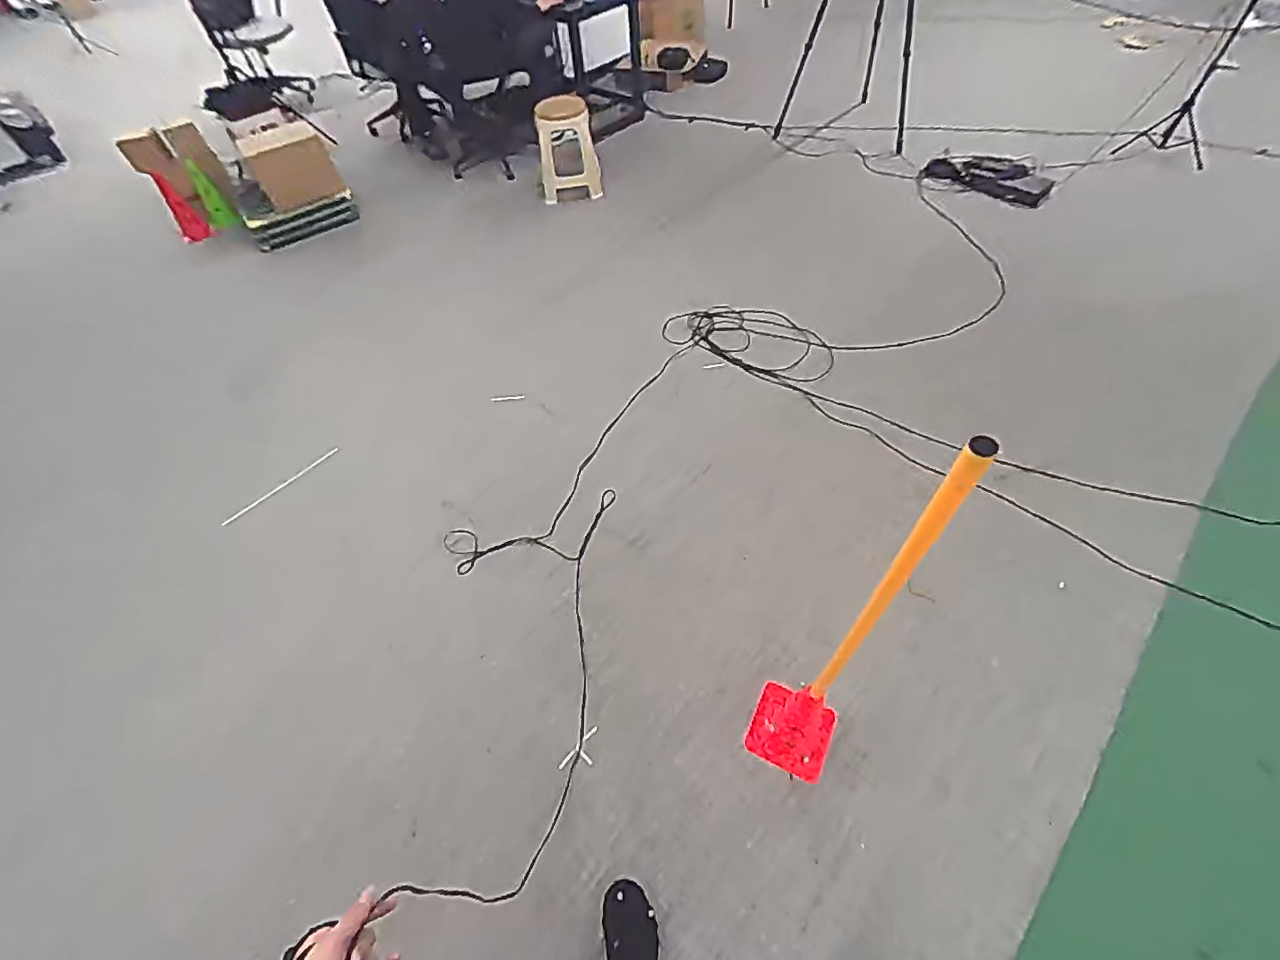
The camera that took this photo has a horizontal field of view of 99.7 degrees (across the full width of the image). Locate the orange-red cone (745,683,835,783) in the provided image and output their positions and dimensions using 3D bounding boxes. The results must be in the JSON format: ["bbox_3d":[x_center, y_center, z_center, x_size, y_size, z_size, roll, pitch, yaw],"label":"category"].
[{"bbox_3d":[0.391,0.560,1.295,0.198,0.360,0.199,22,57,19],"label":"orange-red cone"}]
